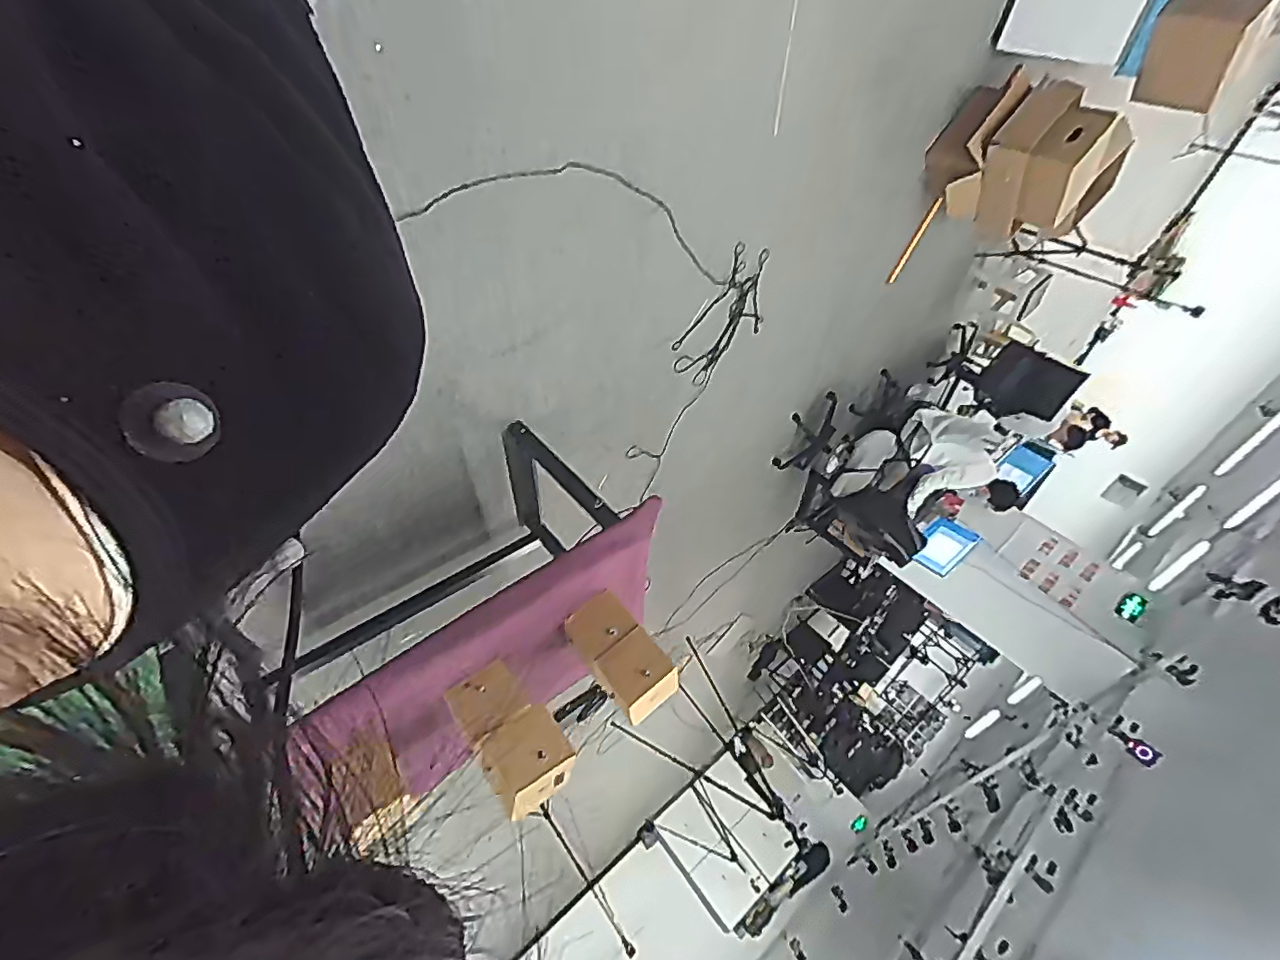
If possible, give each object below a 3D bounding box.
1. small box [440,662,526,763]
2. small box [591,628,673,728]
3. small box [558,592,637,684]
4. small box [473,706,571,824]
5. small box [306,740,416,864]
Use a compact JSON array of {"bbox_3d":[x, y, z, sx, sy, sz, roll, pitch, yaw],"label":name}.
[{"bbox_3d":[-0.414,0.625,1.450,0.168,0.176,0.179,-28,143,-30],"label":"small box"},{"bbox_3d":[-0.026,0.562,1.549,0.179,0.176,0.168,-34,144,-23],"label":"small box"},{"bbox_3d":[-0.125,0.473,1.639,0.179,0.176,0.168,-32,144,-24],"label":"small box"},{"bbox_3d":[-0.301,0.711,1.367,0.179,0.176,0.168,-19,138,-38],"label":"small box"},{"bbox_3d":[-0.665,0.760,1.290,0.168,0.176,0.179,-27,142,-31],"label":"small box"}]
